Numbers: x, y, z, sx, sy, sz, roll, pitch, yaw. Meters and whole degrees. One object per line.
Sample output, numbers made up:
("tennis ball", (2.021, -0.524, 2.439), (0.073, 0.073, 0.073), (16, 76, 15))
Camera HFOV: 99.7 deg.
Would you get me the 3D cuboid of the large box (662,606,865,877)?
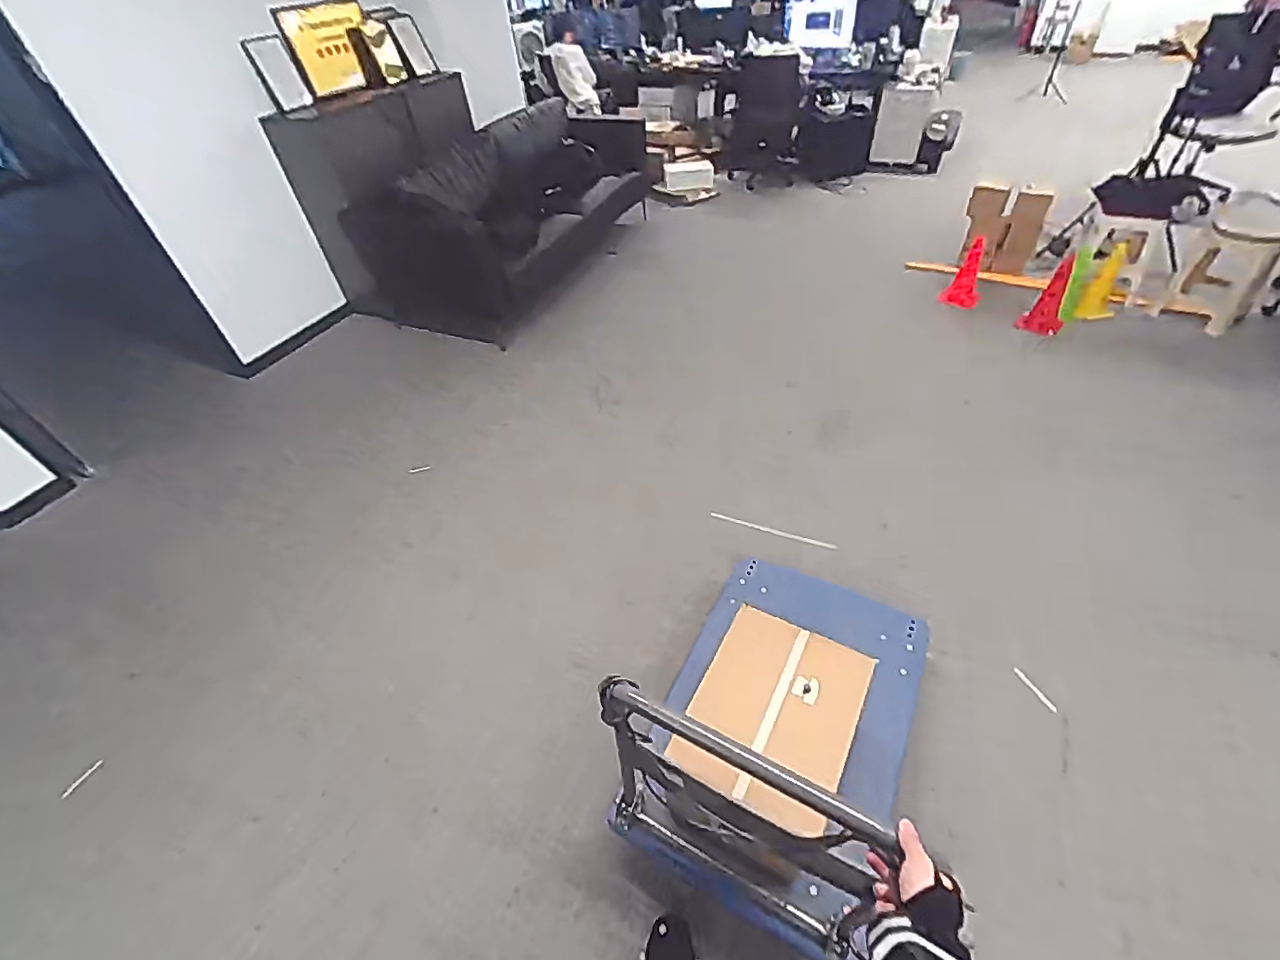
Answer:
("large box", (0.279, 0.581, 1.234), (0.320, 0.320, 0.408), (21, 49, 24))
